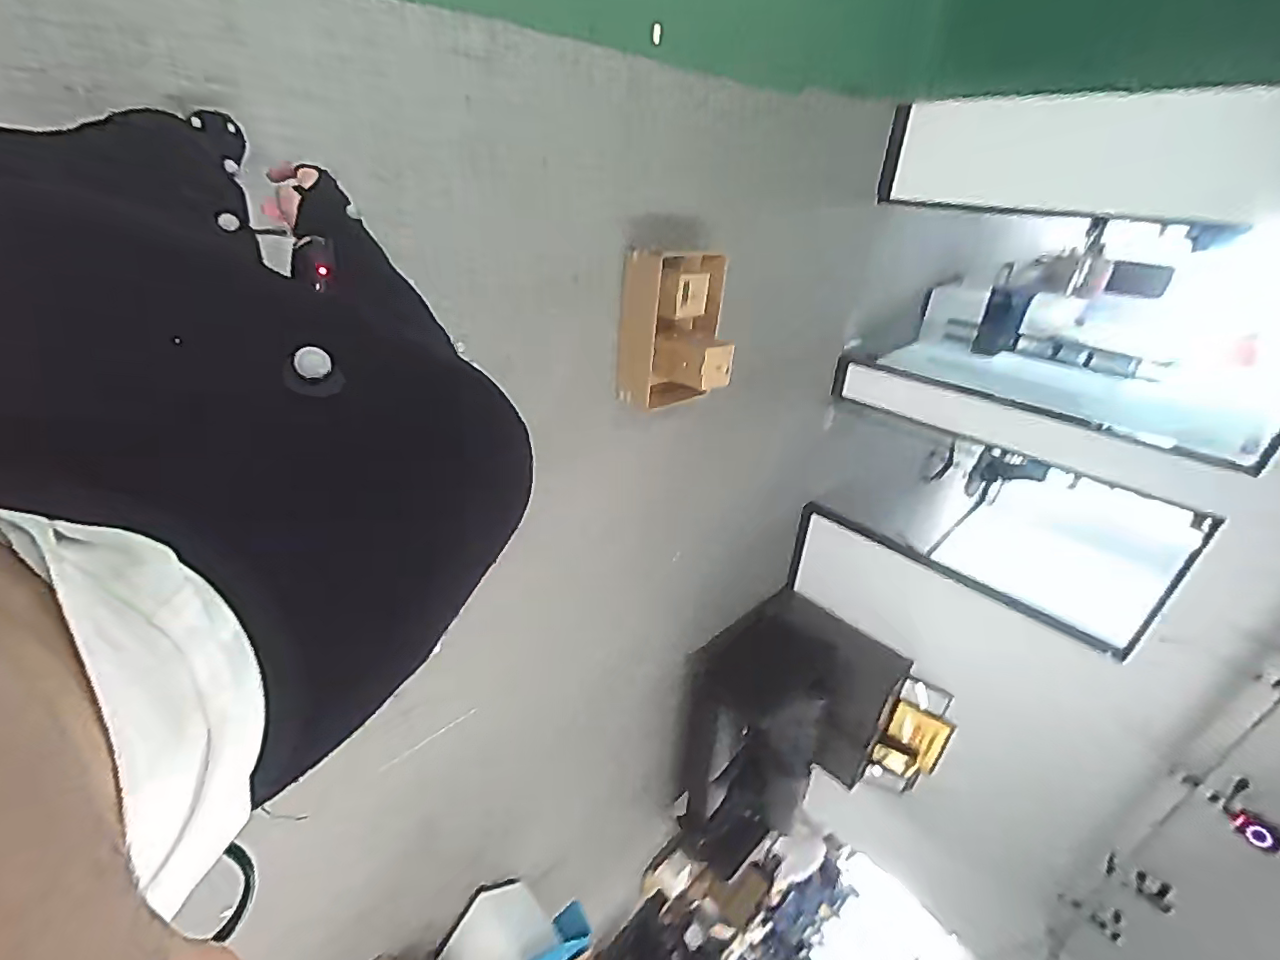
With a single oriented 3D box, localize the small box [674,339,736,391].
[{"bbox_3d":[0.254,-0.462,2.153,0.179,0.176,0.168,-18,124,-38],"label":"small box"}]
